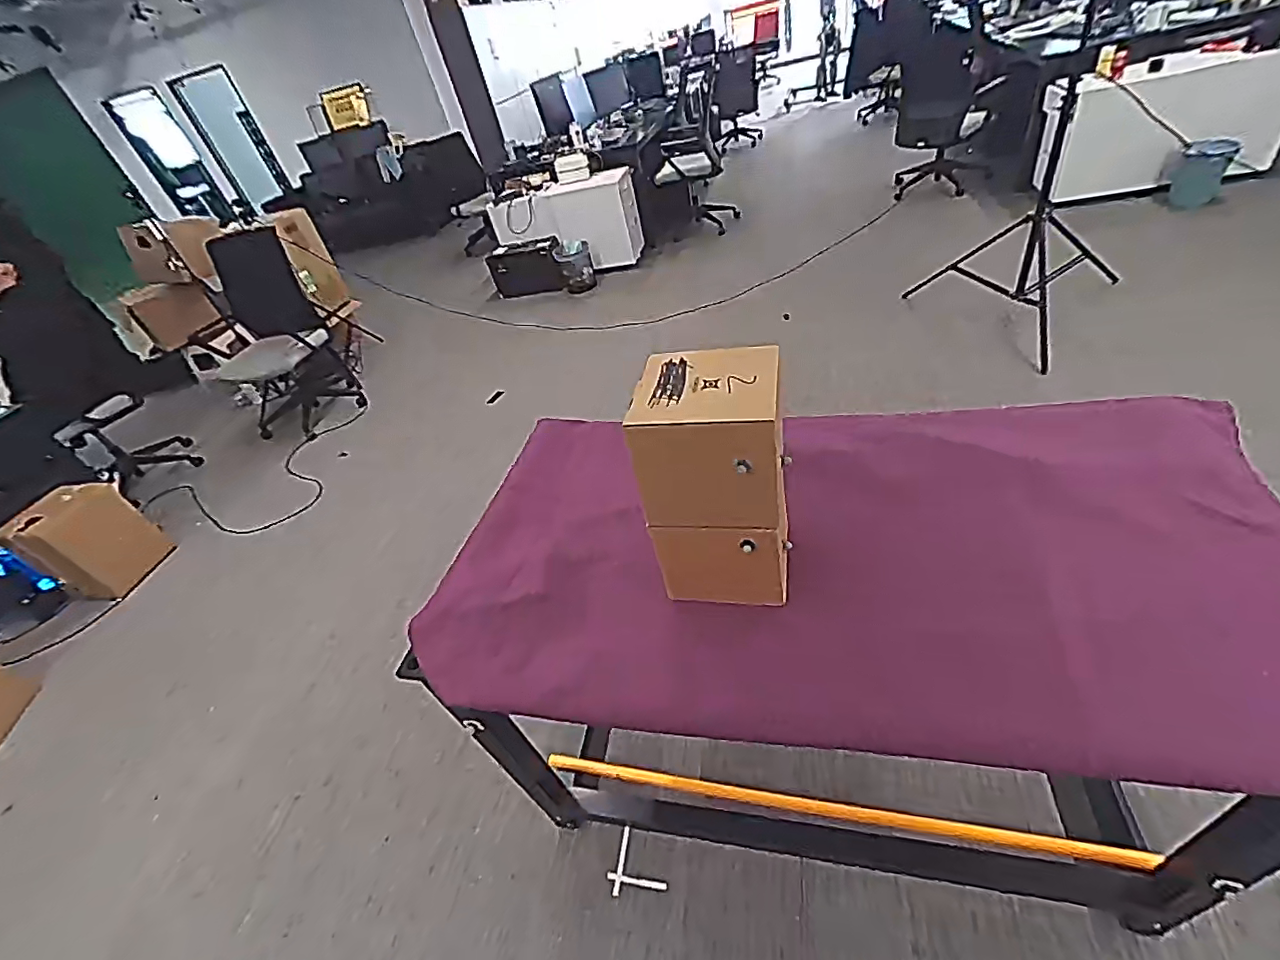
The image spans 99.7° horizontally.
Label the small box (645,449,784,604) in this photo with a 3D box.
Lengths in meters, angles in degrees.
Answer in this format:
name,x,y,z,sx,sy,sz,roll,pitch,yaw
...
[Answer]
name,x,y,z,sx,sy,sz,roll,pitch,yaw
small box,0.122,0.070,0.817,0.179,0.176,0.168,0,41,17
